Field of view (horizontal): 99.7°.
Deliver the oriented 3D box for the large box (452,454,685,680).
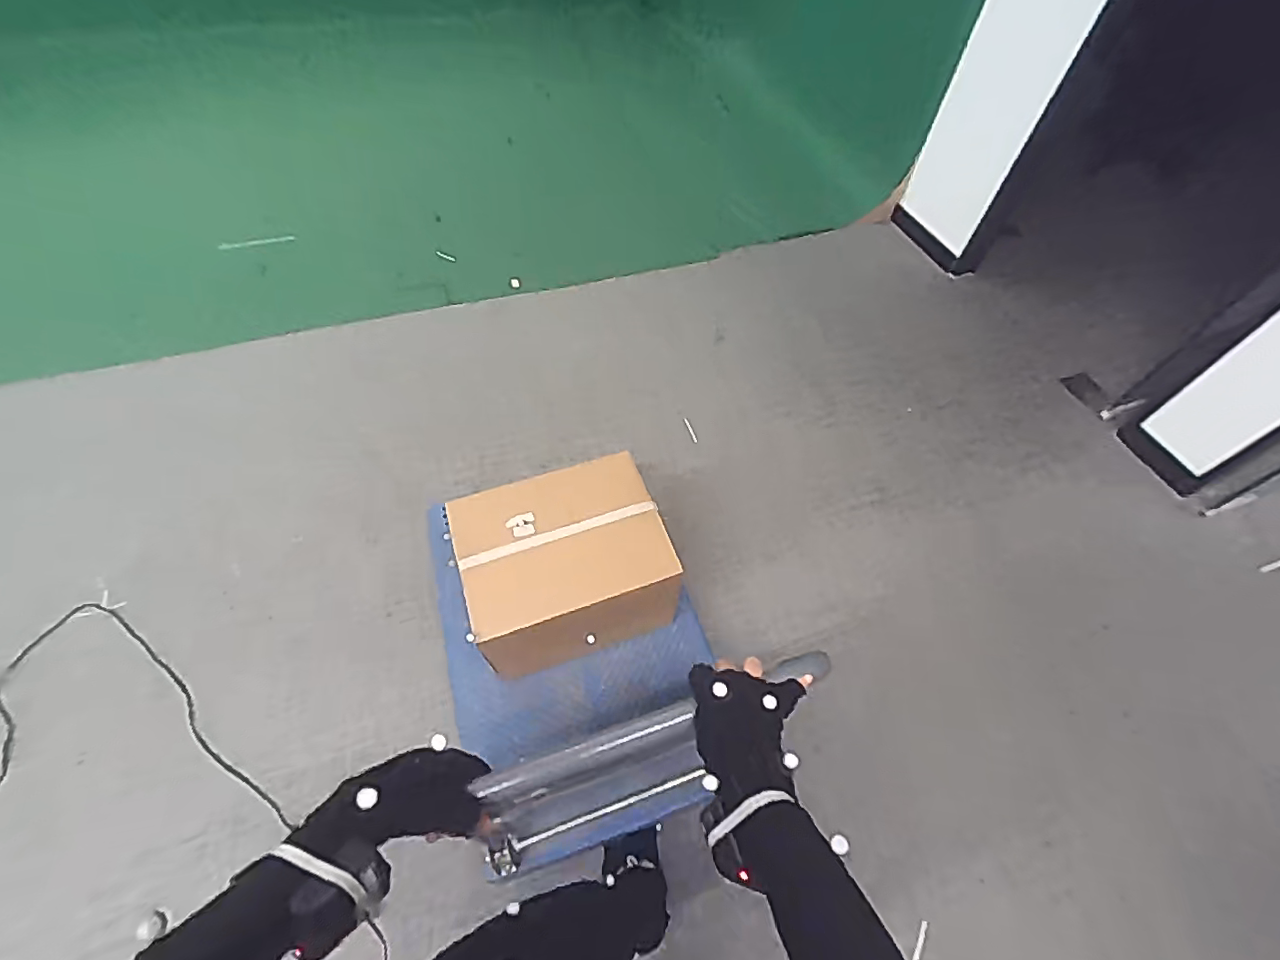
[{"bbox_3d":[-0.152,0.199,1.209,0.408,0.320,0.320,-18,59,-12],"label":"large box"}]
